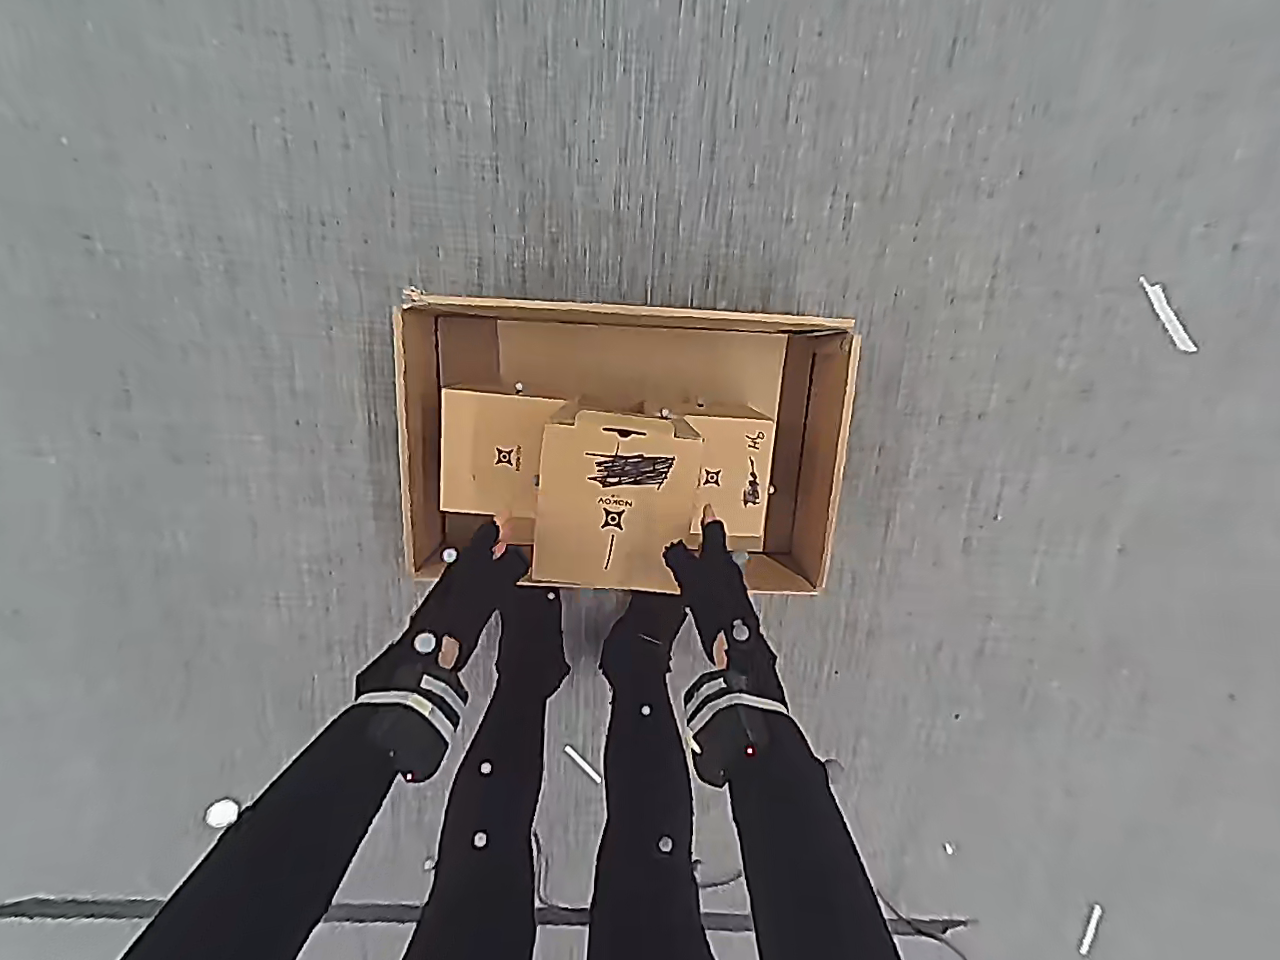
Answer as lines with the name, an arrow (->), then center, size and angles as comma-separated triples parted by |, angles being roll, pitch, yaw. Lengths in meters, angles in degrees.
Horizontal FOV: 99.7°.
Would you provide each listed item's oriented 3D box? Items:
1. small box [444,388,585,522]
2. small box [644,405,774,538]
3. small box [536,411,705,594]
small box -> -0.176, -0.044, 0.800 | 0.179, 0.176, 0.168 | 5, 103, -3
small box -> 0.089, -0.021, 0.817 | 0.179, 0.176, 0.168 | 3, 104, 0
small box -> -0.026, 0.016, 0.652 | 0.168, 0.176, 0.179 | 6, 103, -3
